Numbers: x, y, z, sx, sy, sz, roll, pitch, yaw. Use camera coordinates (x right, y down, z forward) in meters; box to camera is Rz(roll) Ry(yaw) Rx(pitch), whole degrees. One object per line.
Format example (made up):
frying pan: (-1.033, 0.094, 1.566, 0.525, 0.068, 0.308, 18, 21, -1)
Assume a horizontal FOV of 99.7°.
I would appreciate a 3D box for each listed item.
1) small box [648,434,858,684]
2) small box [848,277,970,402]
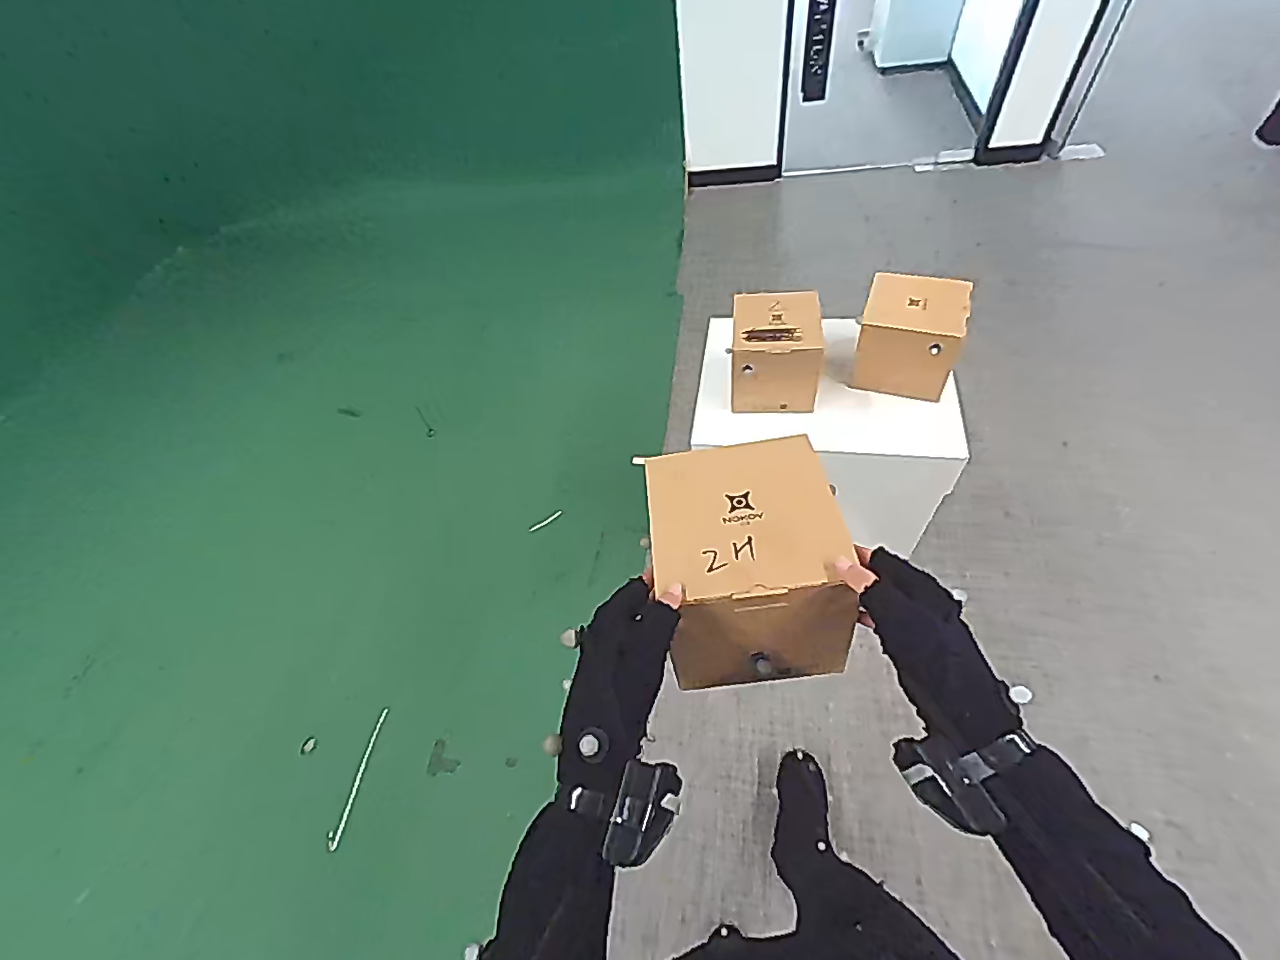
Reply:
small box: (0.102, 0.081, 0.544, 0.168, 0.176, 0.179, -9, 45, 6)
small box: (0.525, -0.275, 1.071, 0.179, 0.176, 0.168, 14, 58, 20)
